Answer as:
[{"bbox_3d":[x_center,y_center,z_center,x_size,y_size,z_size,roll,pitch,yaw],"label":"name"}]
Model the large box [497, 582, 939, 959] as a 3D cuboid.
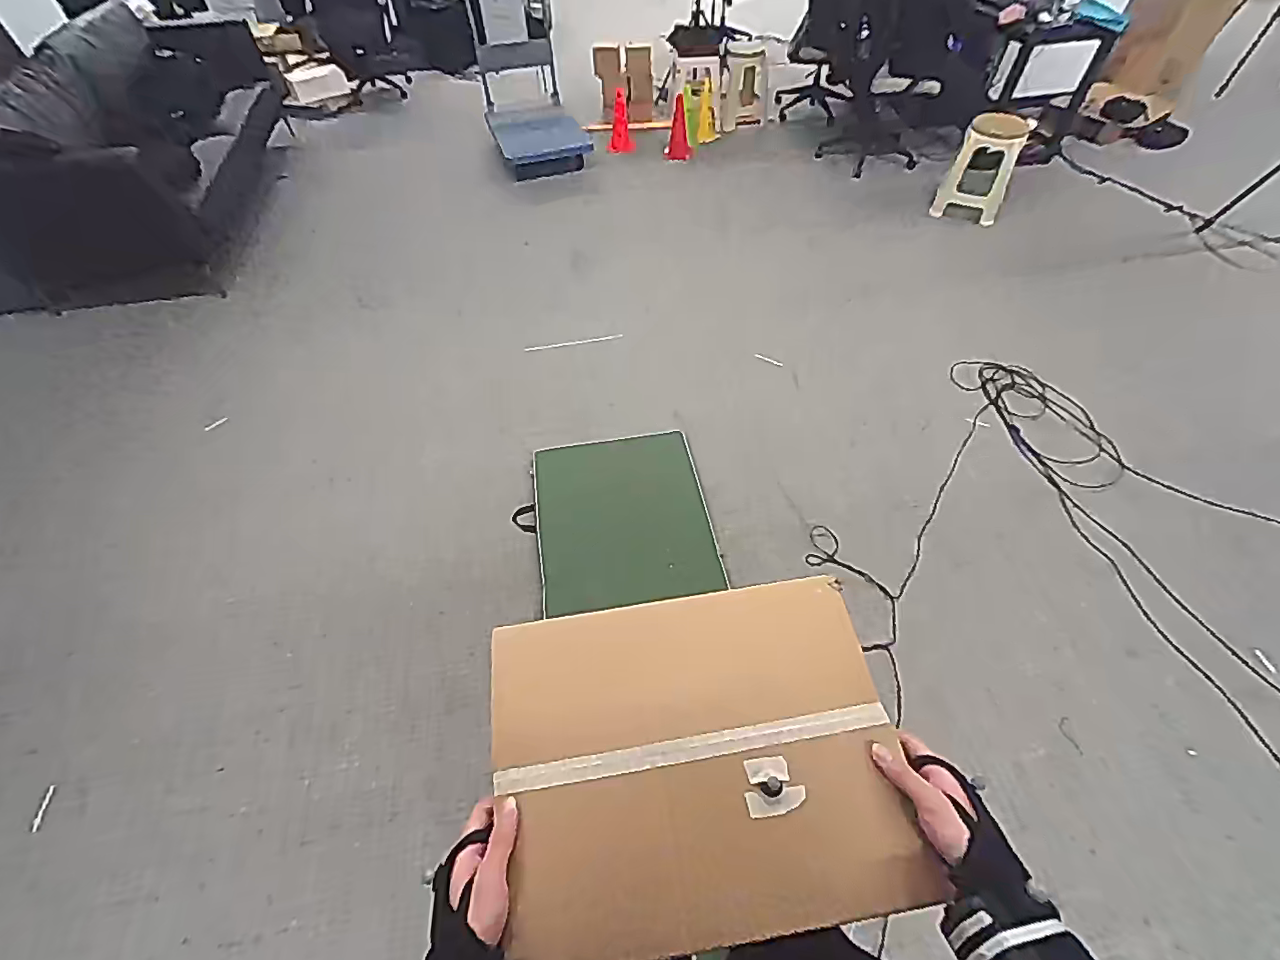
[{"bbox_3d":[0.058,0.362,0.682,0.408,0.320,0.320,-9,58,-4],"label":"large box"}]
